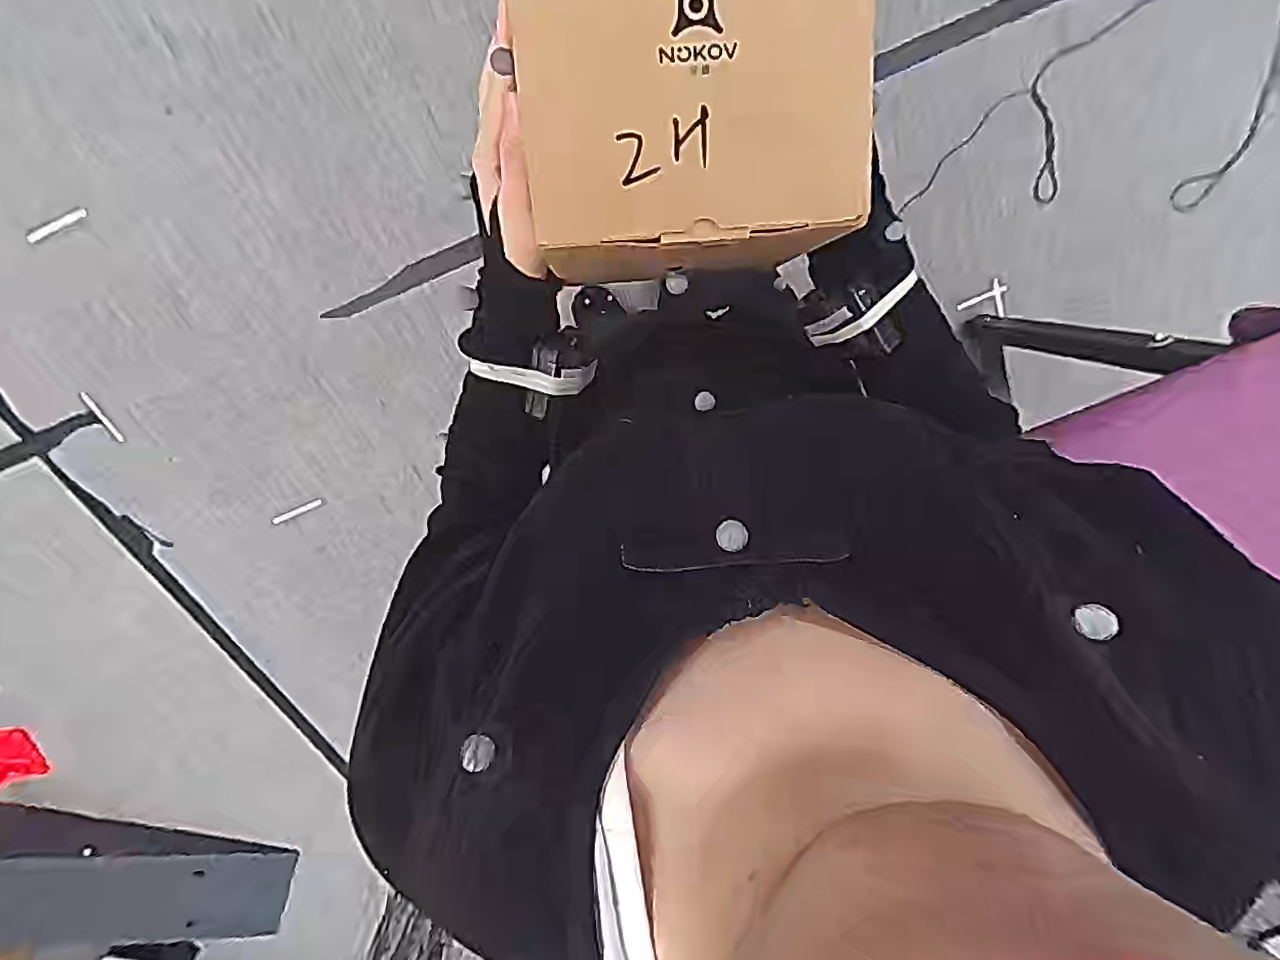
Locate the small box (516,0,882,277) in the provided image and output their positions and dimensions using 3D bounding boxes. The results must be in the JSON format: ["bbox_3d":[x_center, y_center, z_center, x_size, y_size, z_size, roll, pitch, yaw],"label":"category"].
[{"bbox_3d":[0.022,-0.226,0.317,0.168,0.176,0.179,-5,104,-2],"label":"small box"}]
